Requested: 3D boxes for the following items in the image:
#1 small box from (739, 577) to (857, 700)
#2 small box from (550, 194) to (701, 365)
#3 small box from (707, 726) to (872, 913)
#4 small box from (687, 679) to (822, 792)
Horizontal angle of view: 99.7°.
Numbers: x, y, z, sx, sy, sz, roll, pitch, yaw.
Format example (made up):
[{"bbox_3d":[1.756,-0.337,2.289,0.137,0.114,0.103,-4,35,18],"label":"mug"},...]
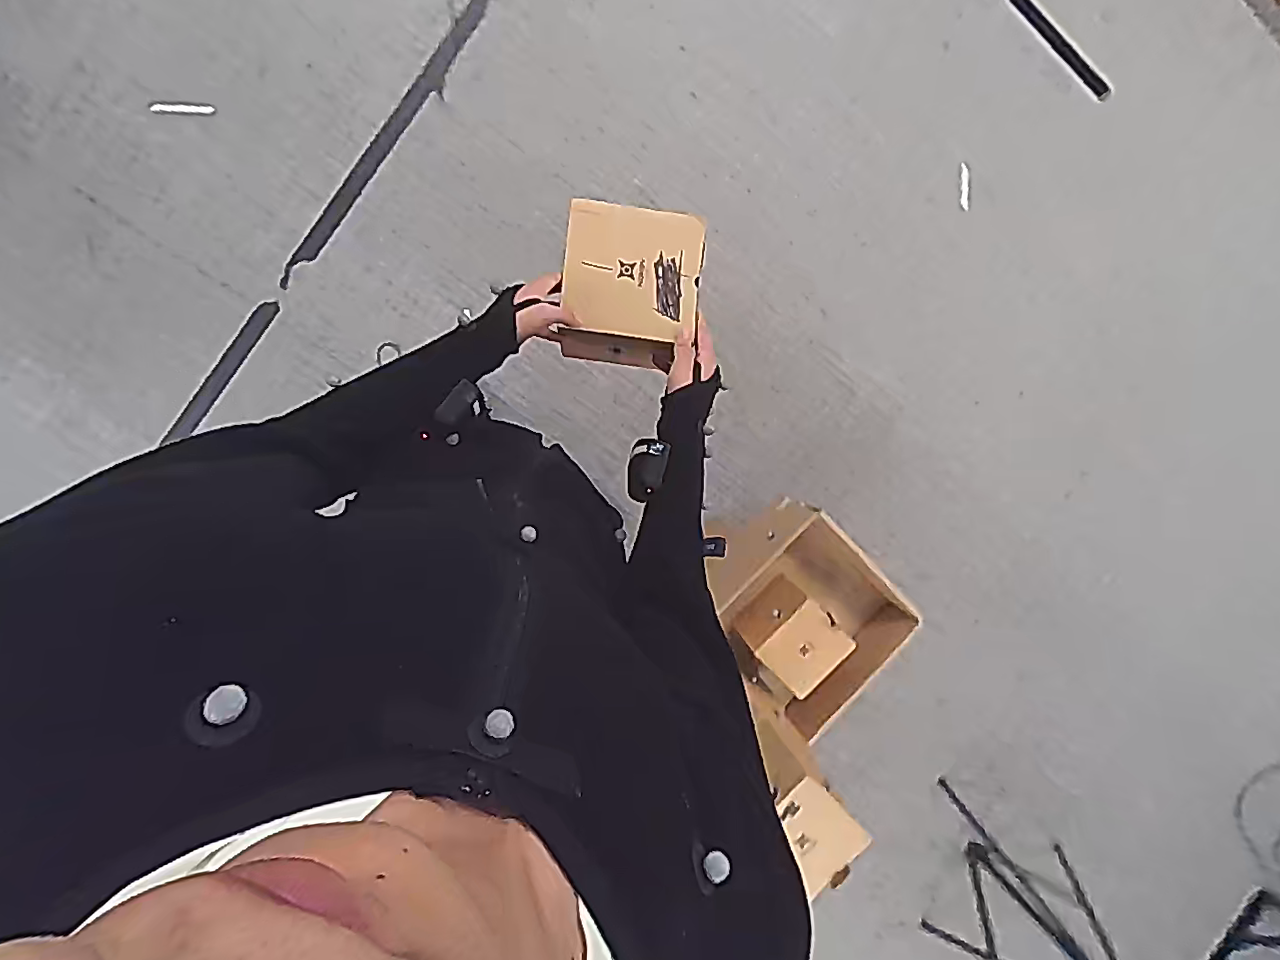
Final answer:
[{"bbox_3d":[0.349,0.356,1.240,0.179,0.176,0.168,-44,102,0],"label":"small box"},{"bbox_3d":[-0.023,-0.261,0.745,0.179,0.176,0.168,5,90,-4],"label":"small box"},{"bbox_3d":[0.243,0.562,0.918,0.168,0.176,0.179,-43,102,-2],"label":"small box"},{"bbox_3d":[0.216,0.536,1.078,0.168,0.176,0.179,41,90,-12],"label":"small box"}]
